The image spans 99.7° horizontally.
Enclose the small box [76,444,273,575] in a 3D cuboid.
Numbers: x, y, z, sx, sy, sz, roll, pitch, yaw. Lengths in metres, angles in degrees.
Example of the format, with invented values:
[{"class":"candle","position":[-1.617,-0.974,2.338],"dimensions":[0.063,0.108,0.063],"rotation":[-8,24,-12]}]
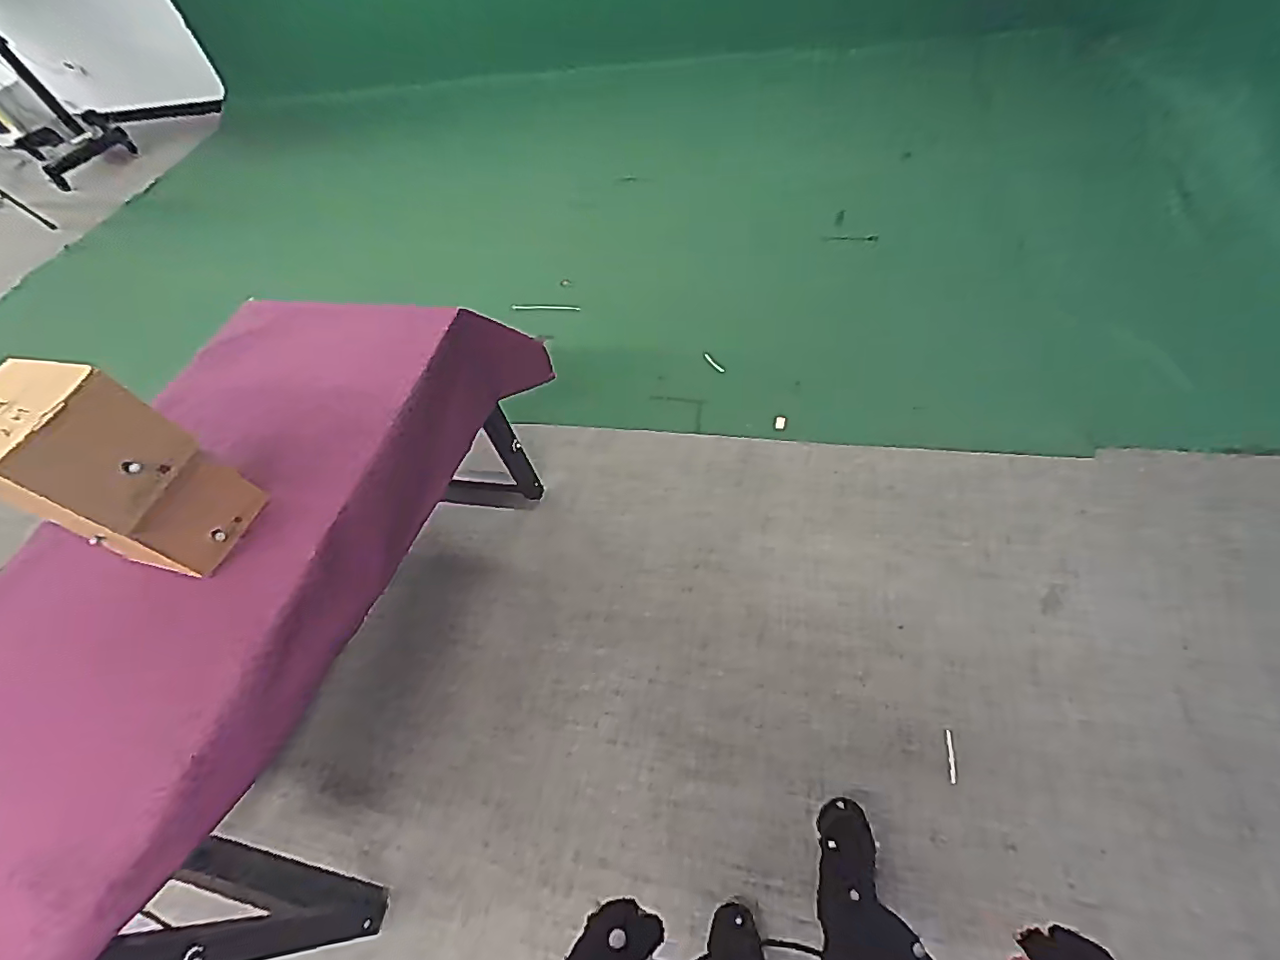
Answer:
[{"class":"small box","position":[-0.774,0.041,0.898],"dimensions":[0.179,0.176,0.168],"rotation":[9,58,16]}]

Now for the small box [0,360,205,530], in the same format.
[{"class":"small box","position":[-0.784,-0.045,0.758],"dimensions":[0.179,0.176,0.168],"rotation":[8,59,15]}]
